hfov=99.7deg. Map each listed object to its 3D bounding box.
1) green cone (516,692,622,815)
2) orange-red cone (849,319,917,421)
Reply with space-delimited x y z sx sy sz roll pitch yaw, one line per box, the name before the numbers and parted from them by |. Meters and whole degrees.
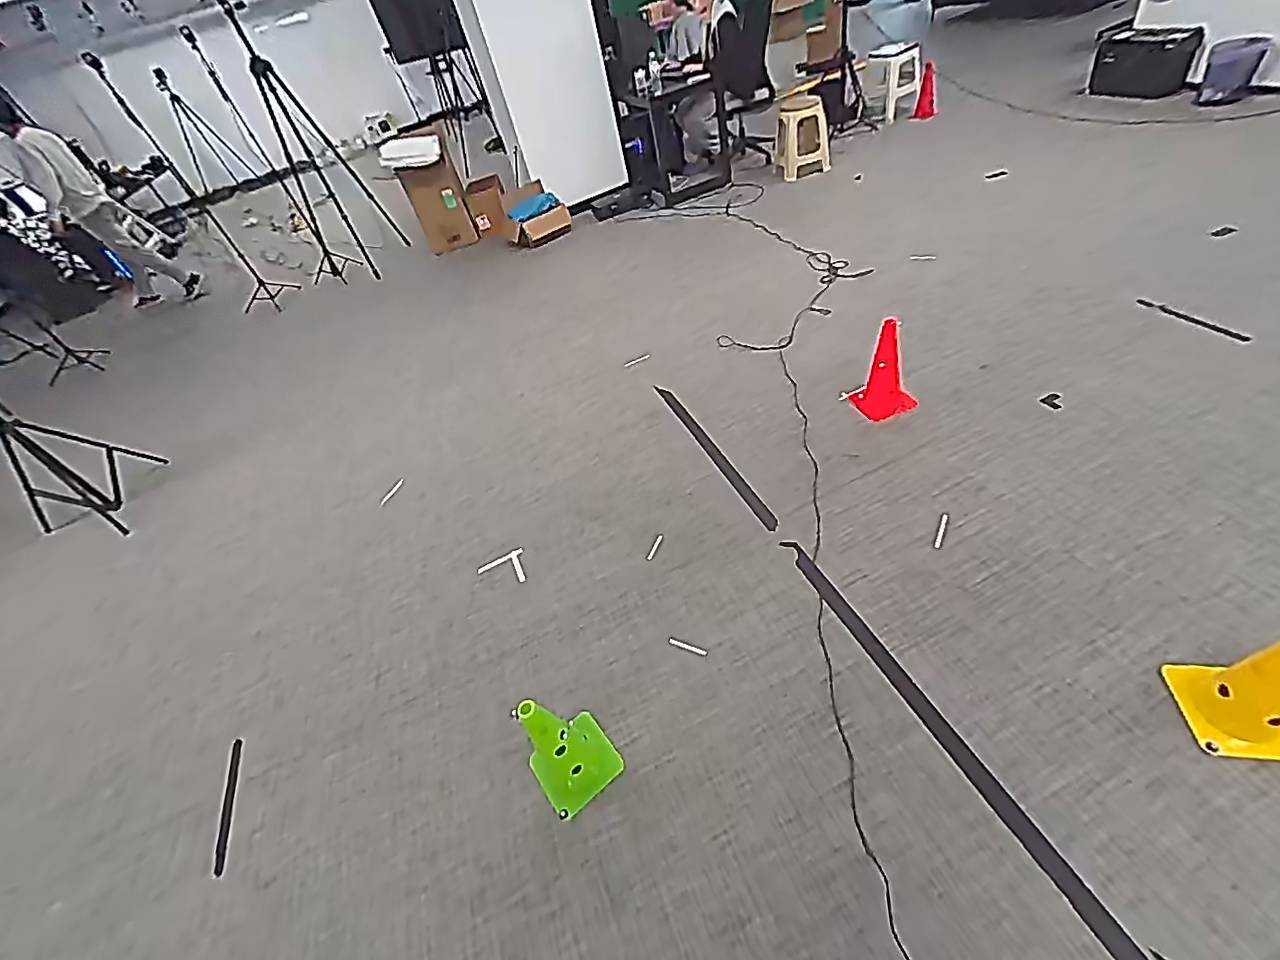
green cone | -0.208 0.612 1.302 0.200 0.368 0.202 -35 44 -19
orange-red cone | 0.917 -0.430 2.010 0.198 0.360 0.199 -20 44 -1
